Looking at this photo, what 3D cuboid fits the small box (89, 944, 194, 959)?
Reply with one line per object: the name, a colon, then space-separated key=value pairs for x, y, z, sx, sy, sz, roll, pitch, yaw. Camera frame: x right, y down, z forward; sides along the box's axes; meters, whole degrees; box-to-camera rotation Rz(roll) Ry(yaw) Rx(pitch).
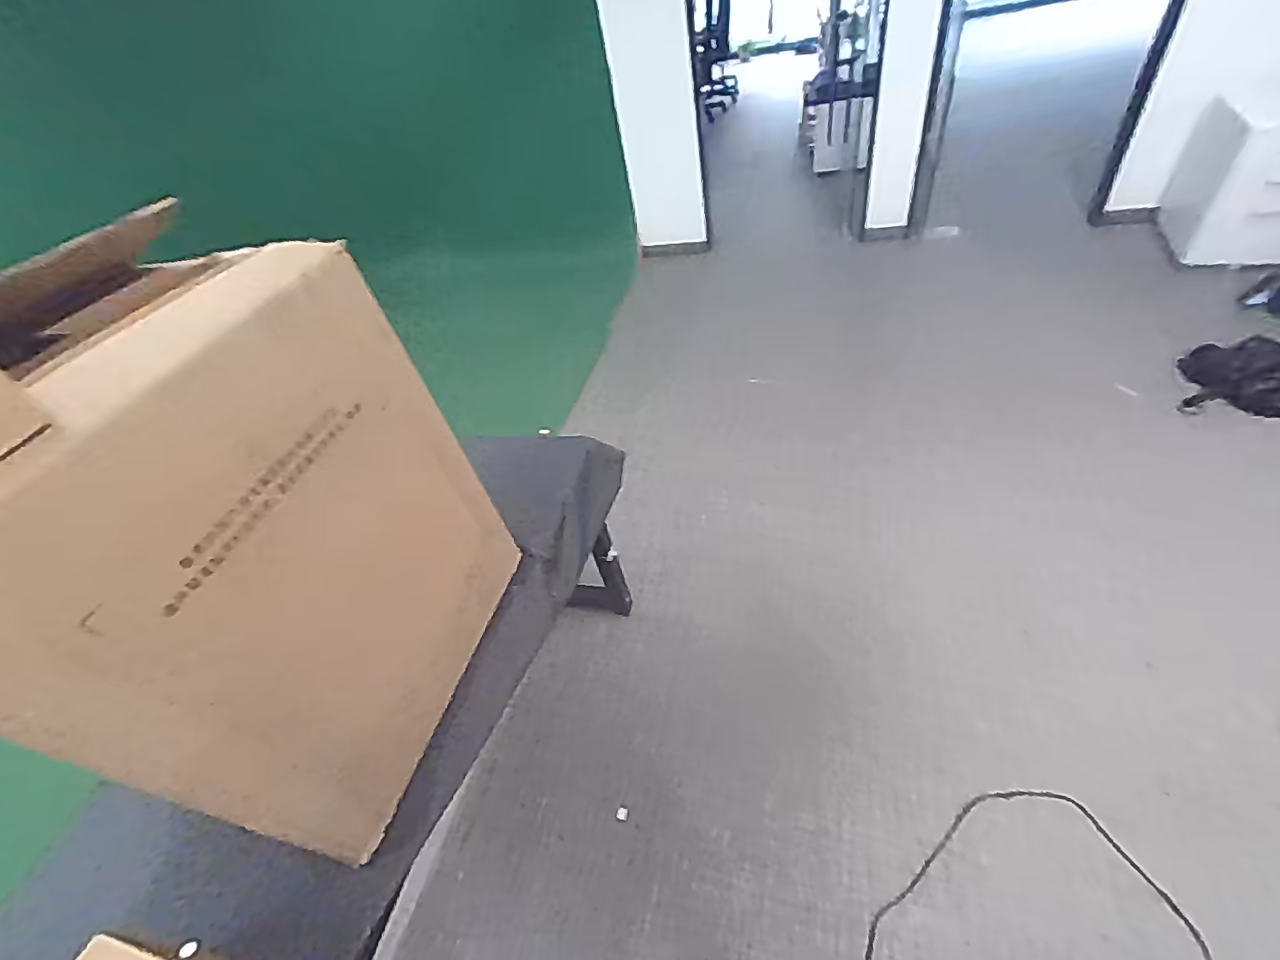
small box: x=-0.513 y=0.625 z=0.568 sx=0.179 sy=0.176 sz=0.168 roll=0 pitch=43 yaw=17
